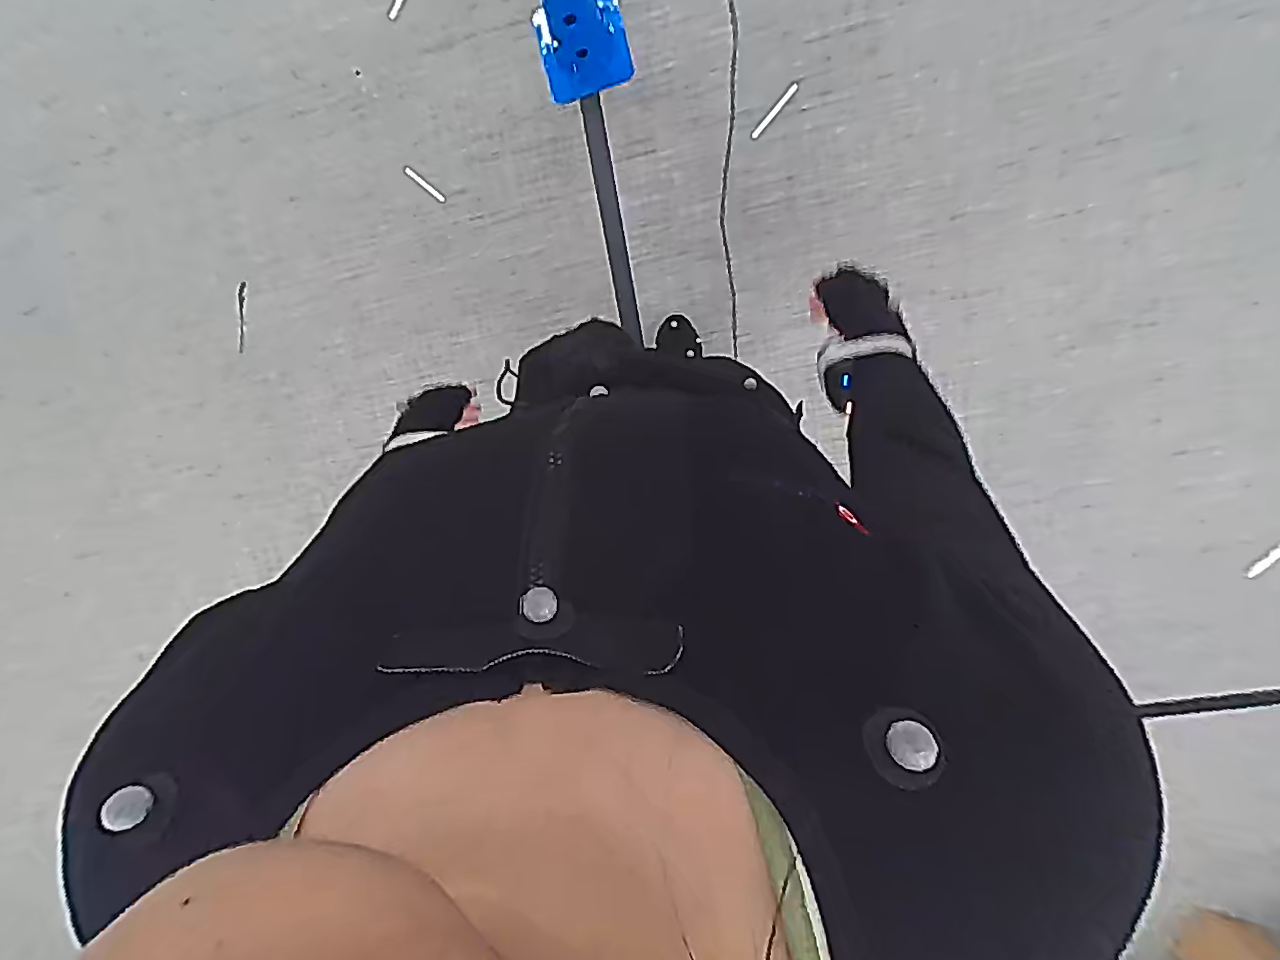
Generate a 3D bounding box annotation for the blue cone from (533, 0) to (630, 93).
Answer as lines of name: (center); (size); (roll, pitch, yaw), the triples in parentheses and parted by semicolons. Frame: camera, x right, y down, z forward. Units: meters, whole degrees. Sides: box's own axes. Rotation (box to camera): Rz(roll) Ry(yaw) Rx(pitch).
blue cone: (-0.153, -0.953, 1.056); (0.192, 0.380, 0.193); (-15, 101, 10)
